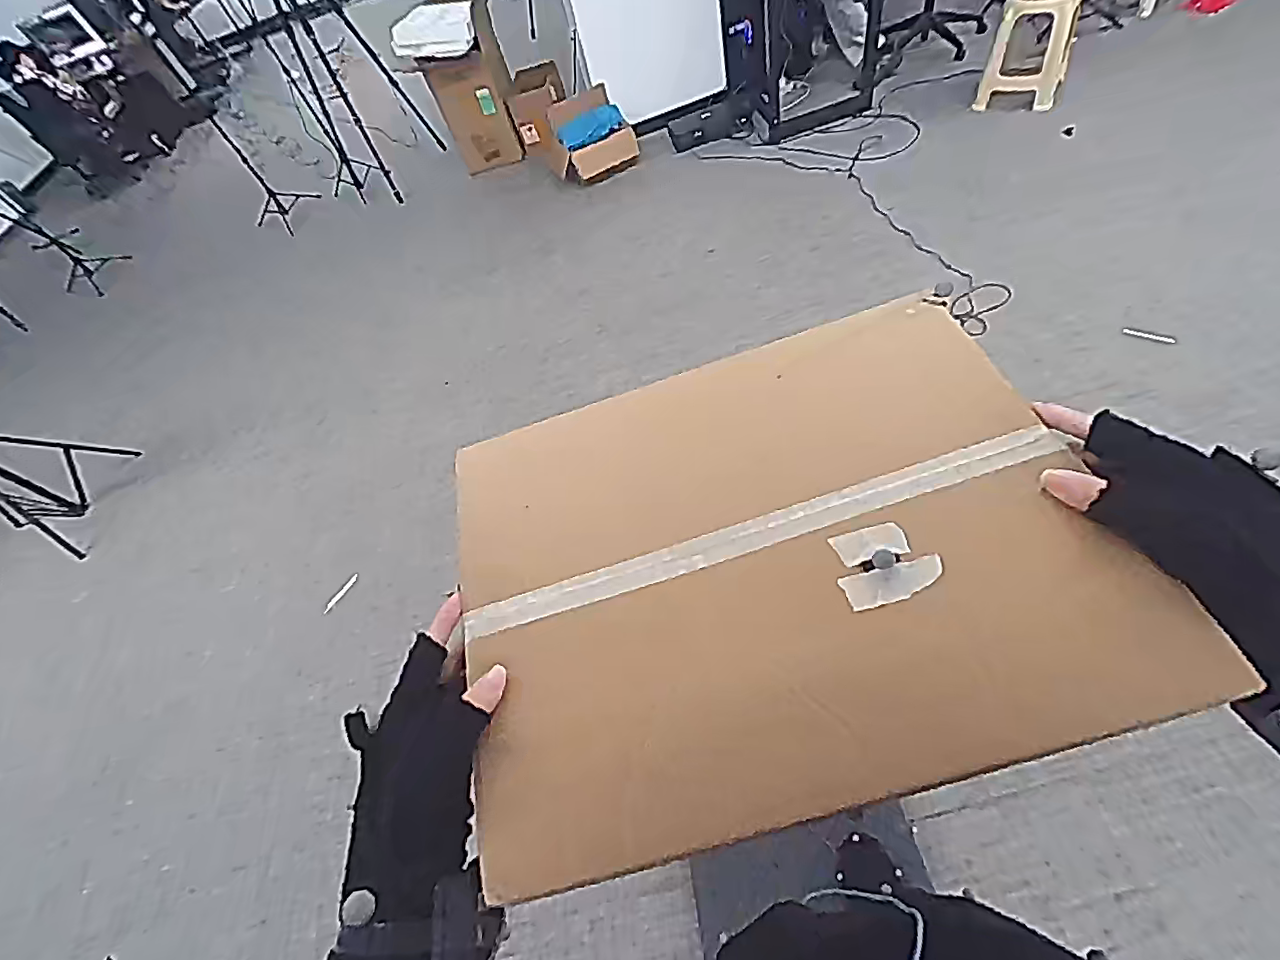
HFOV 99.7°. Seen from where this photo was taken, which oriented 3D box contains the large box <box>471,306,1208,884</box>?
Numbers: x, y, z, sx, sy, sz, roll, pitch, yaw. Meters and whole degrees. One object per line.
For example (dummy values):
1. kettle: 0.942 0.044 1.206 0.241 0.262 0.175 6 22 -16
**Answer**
1. large box: 0.108 0.116 0.497 0.408 0.320 0.320 -18 58 3
